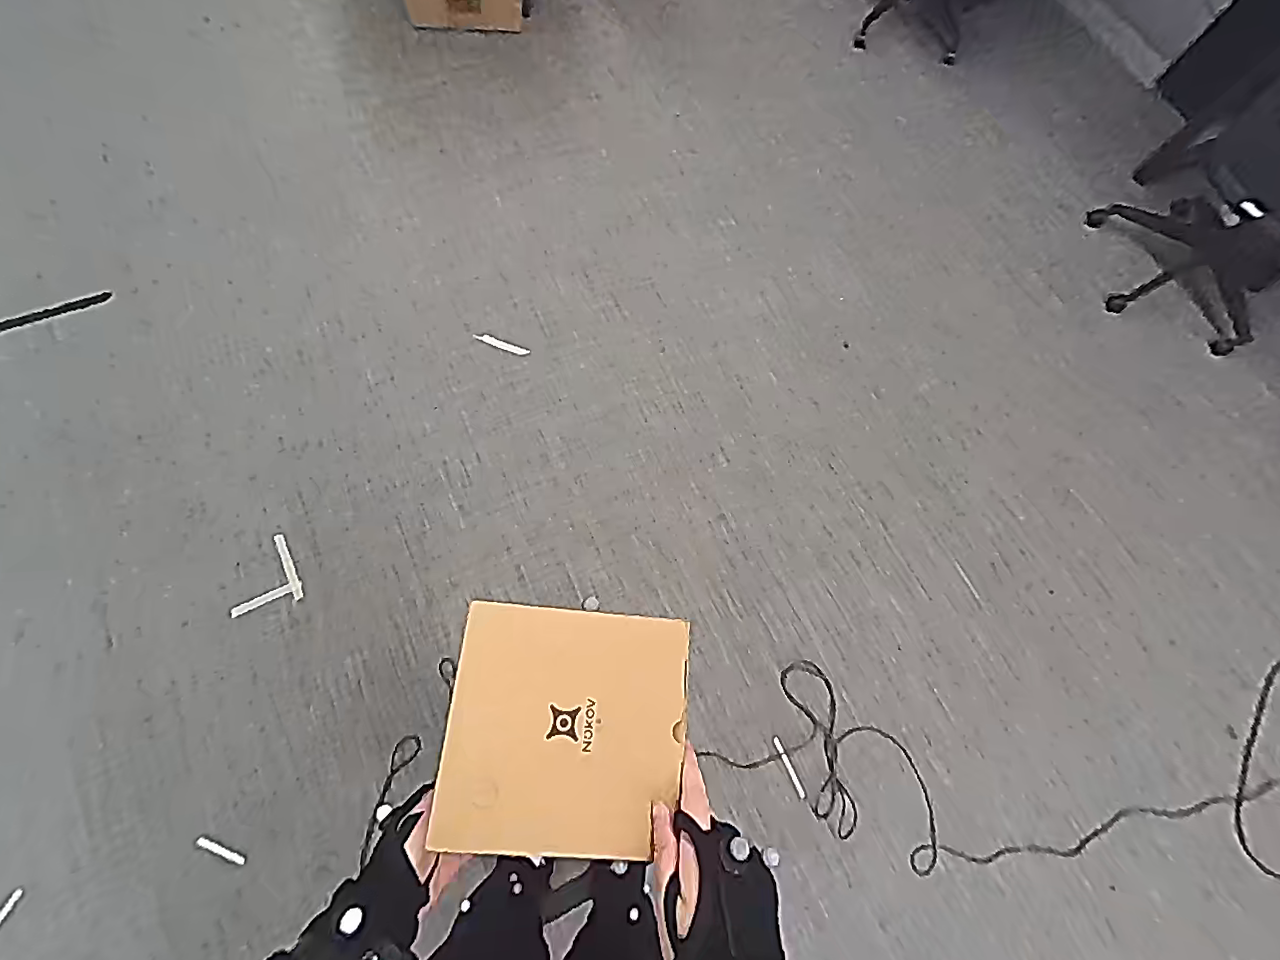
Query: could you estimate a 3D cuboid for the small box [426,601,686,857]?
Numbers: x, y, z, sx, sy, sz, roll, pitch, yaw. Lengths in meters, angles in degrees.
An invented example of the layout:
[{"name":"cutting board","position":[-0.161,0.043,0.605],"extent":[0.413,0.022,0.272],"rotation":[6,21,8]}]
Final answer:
[{"name":"small box","position":[-0.065,0.211,0.476],"extent":[0.179,0.176,0.168],"rotation":[7,66,-7]}]
